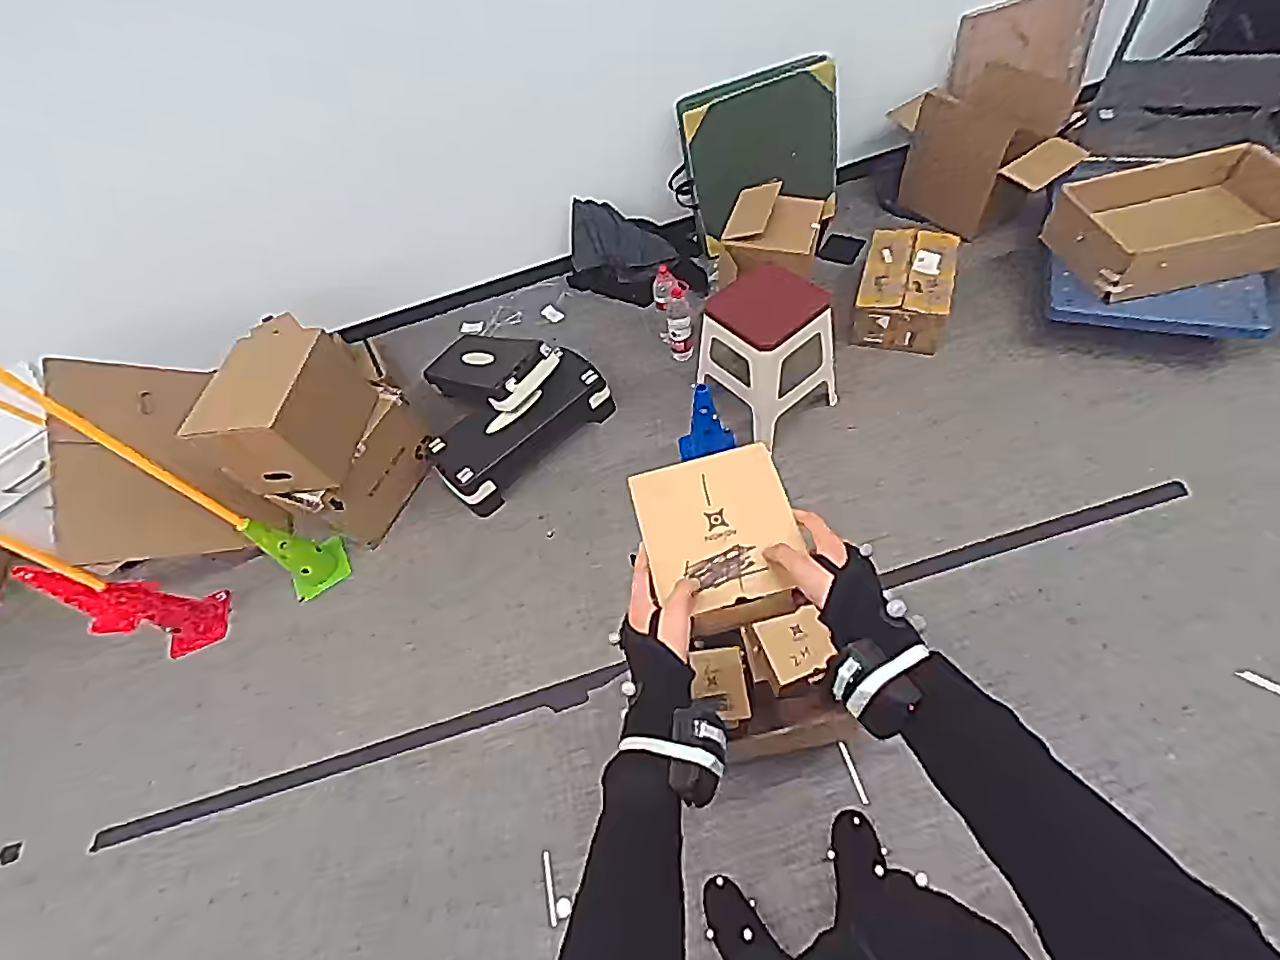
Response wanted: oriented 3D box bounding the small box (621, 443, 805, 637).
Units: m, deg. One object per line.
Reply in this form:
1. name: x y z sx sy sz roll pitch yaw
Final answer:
1. small box: 0.084 0.084 0.658 0.168 0.176 0.179 -15 65 1
